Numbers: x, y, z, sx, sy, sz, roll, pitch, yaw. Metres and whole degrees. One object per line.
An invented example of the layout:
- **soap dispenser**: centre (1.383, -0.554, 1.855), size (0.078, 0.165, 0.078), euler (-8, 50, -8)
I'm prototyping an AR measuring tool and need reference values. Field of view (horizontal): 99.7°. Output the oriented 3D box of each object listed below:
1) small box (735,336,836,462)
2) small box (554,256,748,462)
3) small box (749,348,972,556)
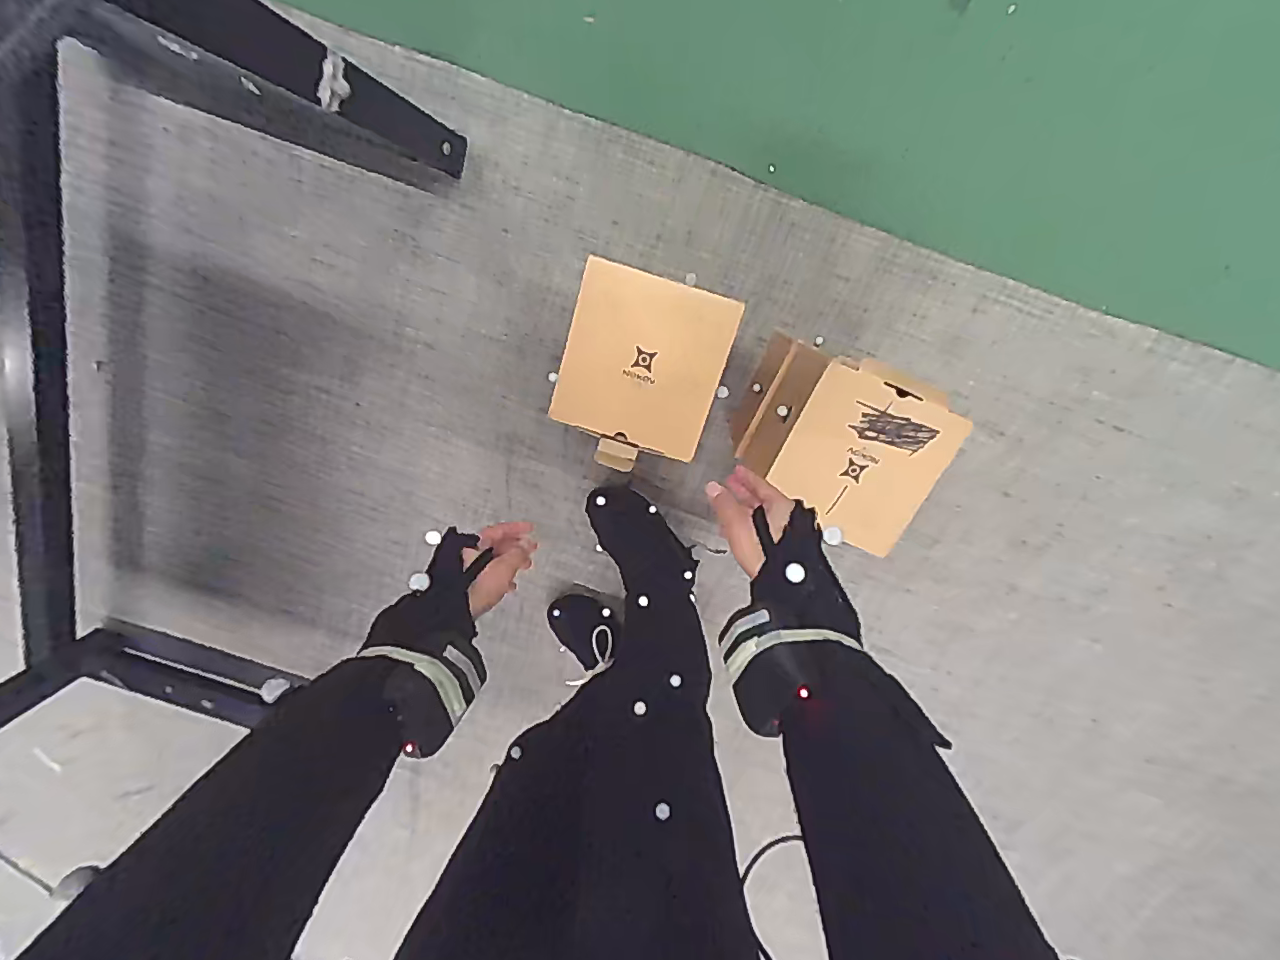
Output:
- **small box**: centre (0.250, -0.102, 0.807), size (0.168, 0.176, 0.179), euler (23, 111, -2)
- **small box**: centre (0.012, -0.145, 0.638), size (0.168, 0.176, 0.179), euler (17, 109, -1)
- **small box**: centre (0.242, -0.045, 0.652), size (0.168, 0.176, 0.179), euler (24, 110, -2)
